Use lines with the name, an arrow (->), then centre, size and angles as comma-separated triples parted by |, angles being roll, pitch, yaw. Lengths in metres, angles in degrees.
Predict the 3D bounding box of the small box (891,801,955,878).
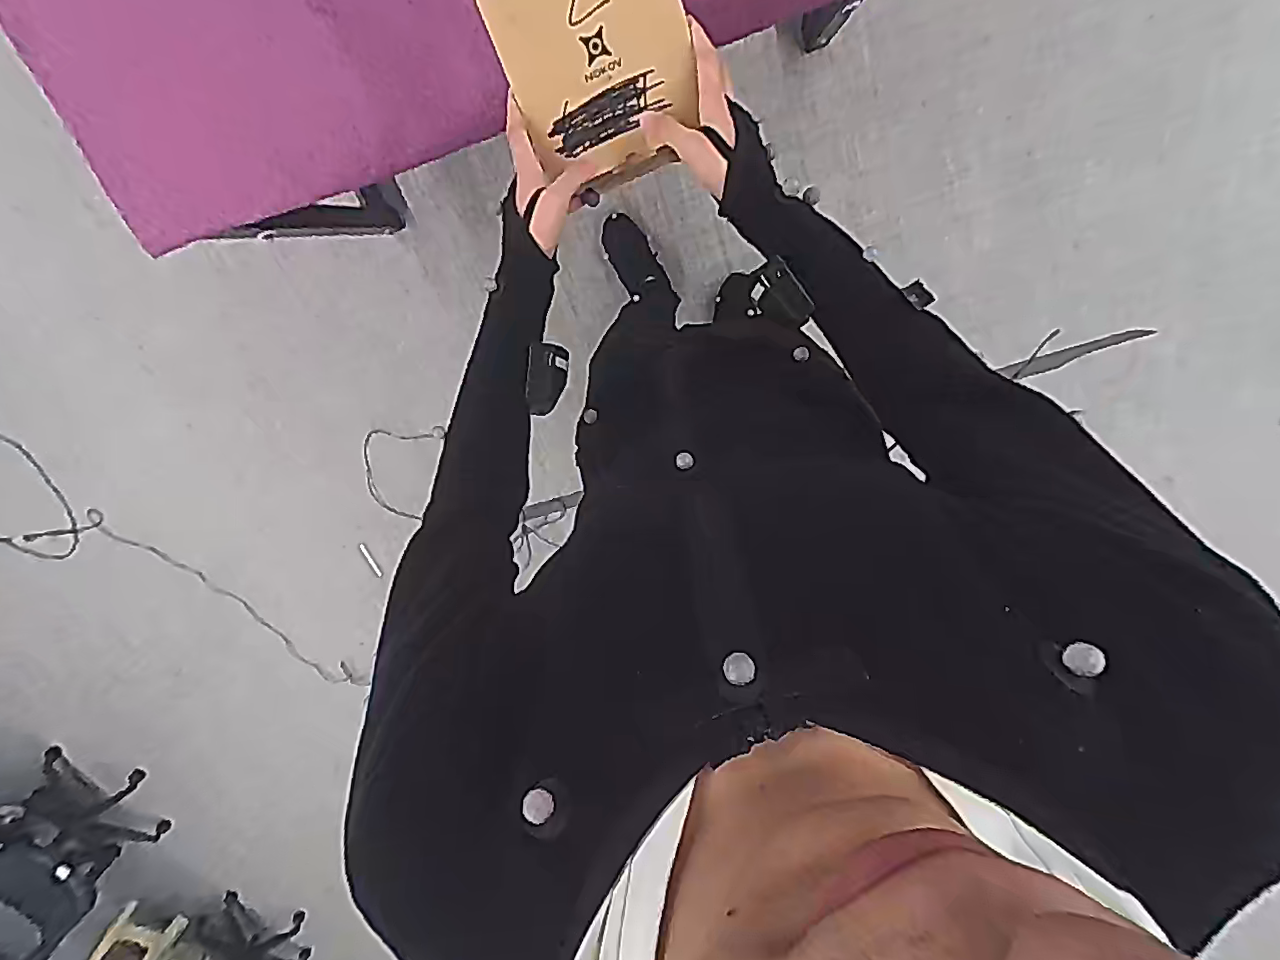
small box -> 1.055, 1.340, 2.018 | 0.168, 0.176, 0.179 | -14, 113, 8

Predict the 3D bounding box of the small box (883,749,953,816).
small box -> 1.092, 1.205, 2.133 | 0.168, 0.176, 0.179 | -28, 110, 14
